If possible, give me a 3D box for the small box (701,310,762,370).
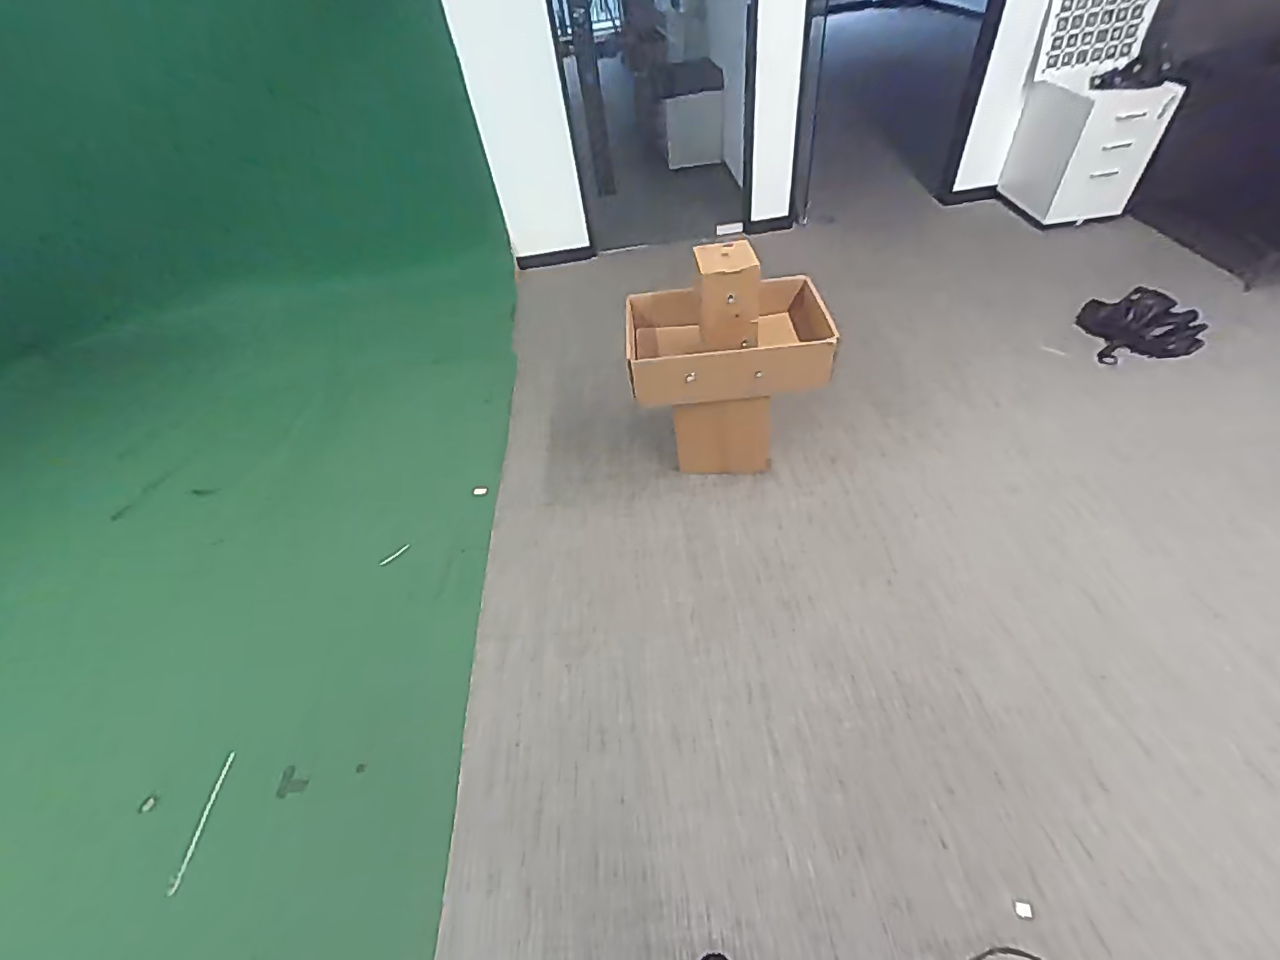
[{"bbox_3d":[0.291,-0.464,1.728,0.168,0.176,0.179,-7,45,1],"label":"small box"}]

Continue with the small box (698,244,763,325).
[{"bbox_3d":[0.267,-0.577,1.613,0.168,0.176,0.179,-6,47,1],"label":"small box"}]
